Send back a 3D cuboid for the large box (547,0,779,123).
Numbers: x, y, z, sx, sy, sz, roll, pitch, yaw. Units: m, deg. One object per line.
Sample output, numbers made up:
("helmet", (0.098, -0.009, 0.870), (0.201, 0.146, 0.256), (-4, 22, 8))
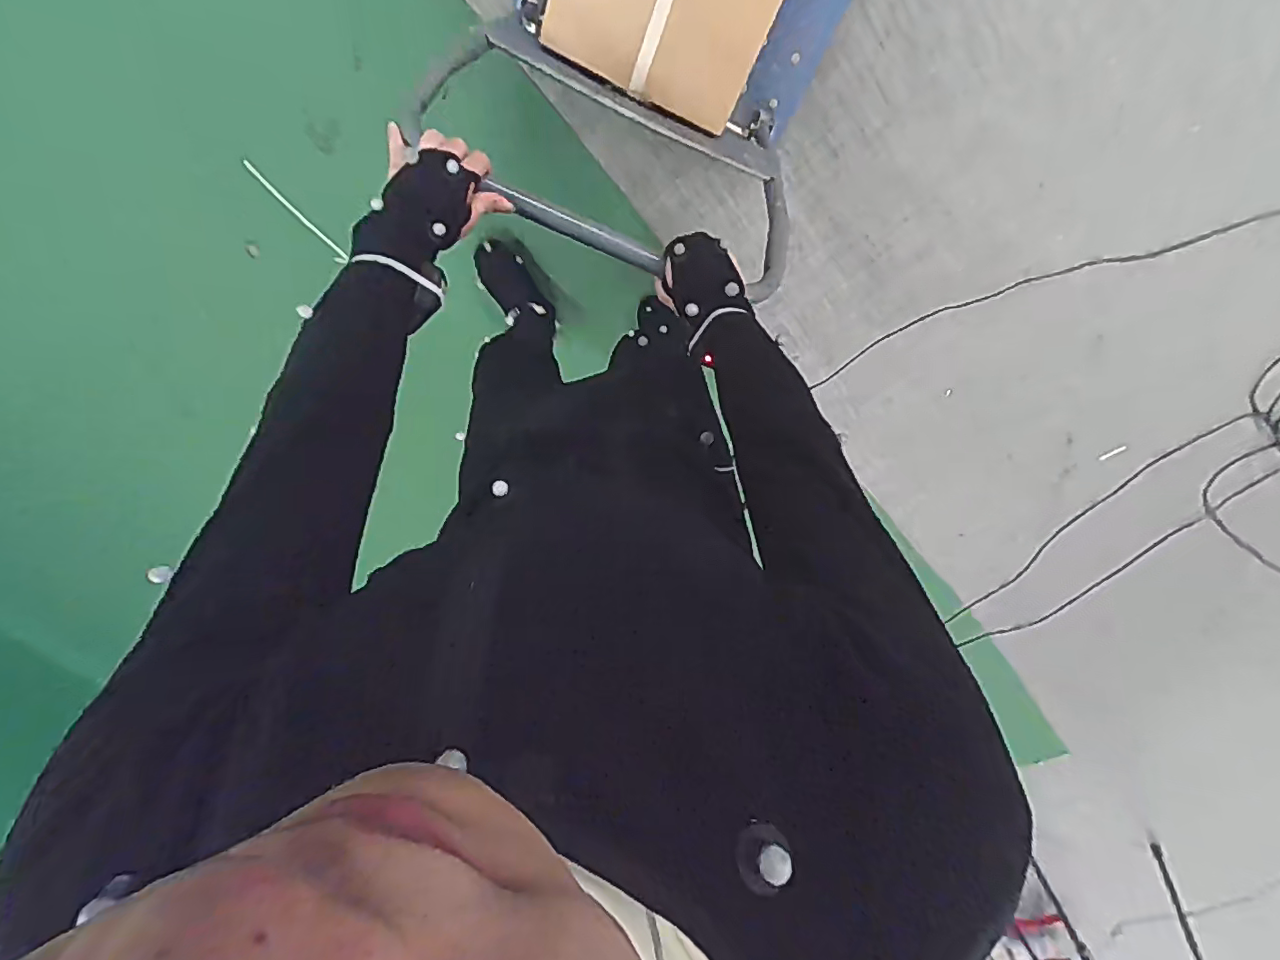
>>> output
("large box", (0.082, -0.863, 0.841), (0.320, 0.320, 0.408), (20, 131, -13))
